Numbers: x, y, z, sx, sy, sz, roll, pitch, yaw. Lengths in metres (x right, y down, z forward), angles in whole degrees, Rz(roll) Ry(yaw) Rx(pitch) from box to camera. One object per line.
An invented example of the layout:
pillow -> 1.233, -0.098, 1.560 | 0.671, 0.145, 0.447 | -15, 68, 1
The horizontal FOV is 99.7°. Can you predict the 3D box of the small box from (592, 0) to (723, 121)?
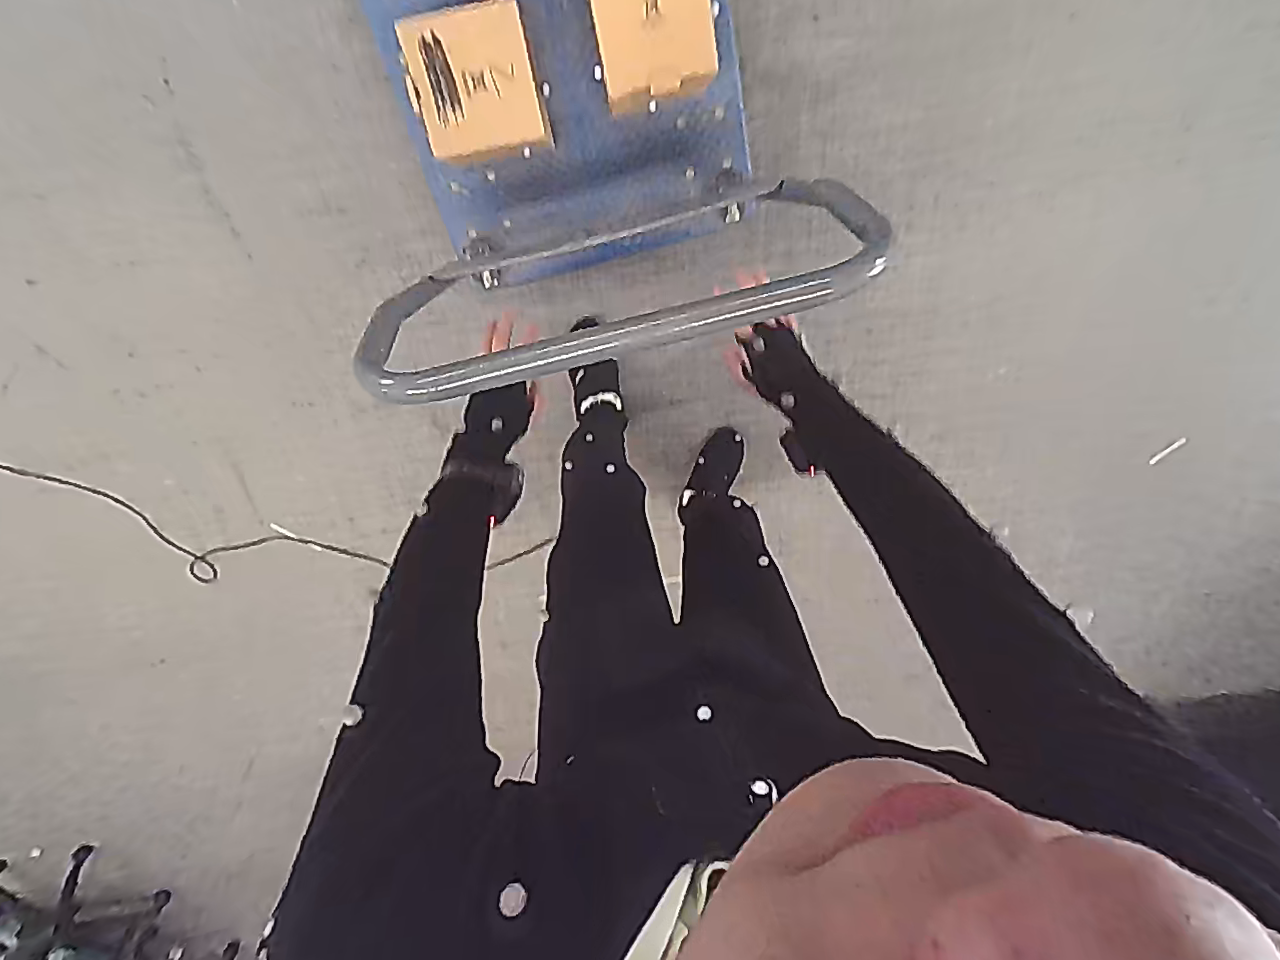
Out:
small box -> 0.022, -0.684, 0.833 | 0.168, 0.176, 0.179 | -12, 117, 4
